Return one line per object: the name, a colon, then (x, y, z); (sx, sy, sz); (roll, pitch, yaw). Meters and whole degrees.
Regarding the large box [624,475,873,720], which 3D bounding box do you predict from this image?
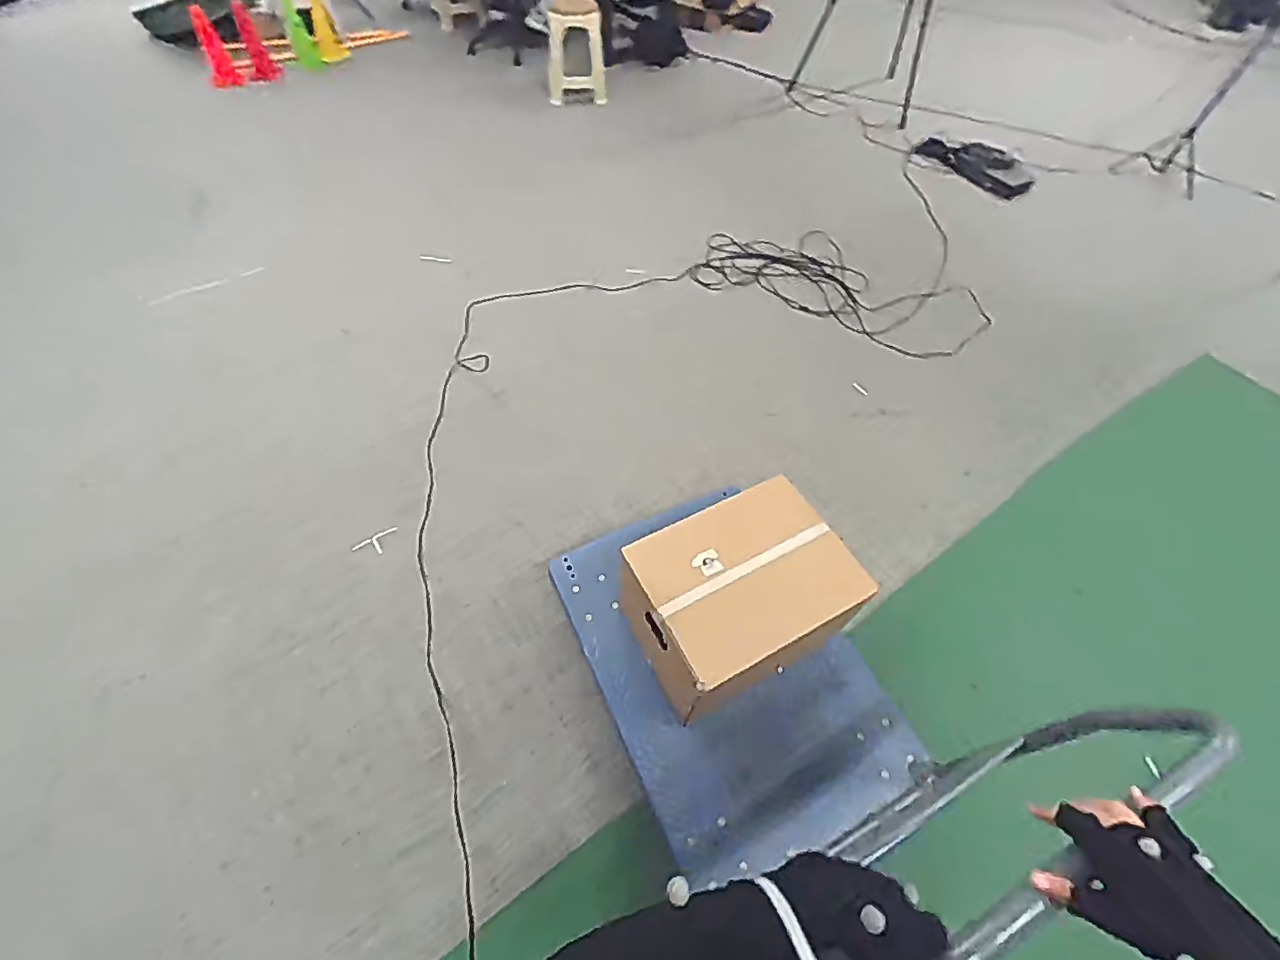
large box: (0.209, 0.258, 1.185); (0.408, 0.320, 0.320); (-24, 58, -17)
